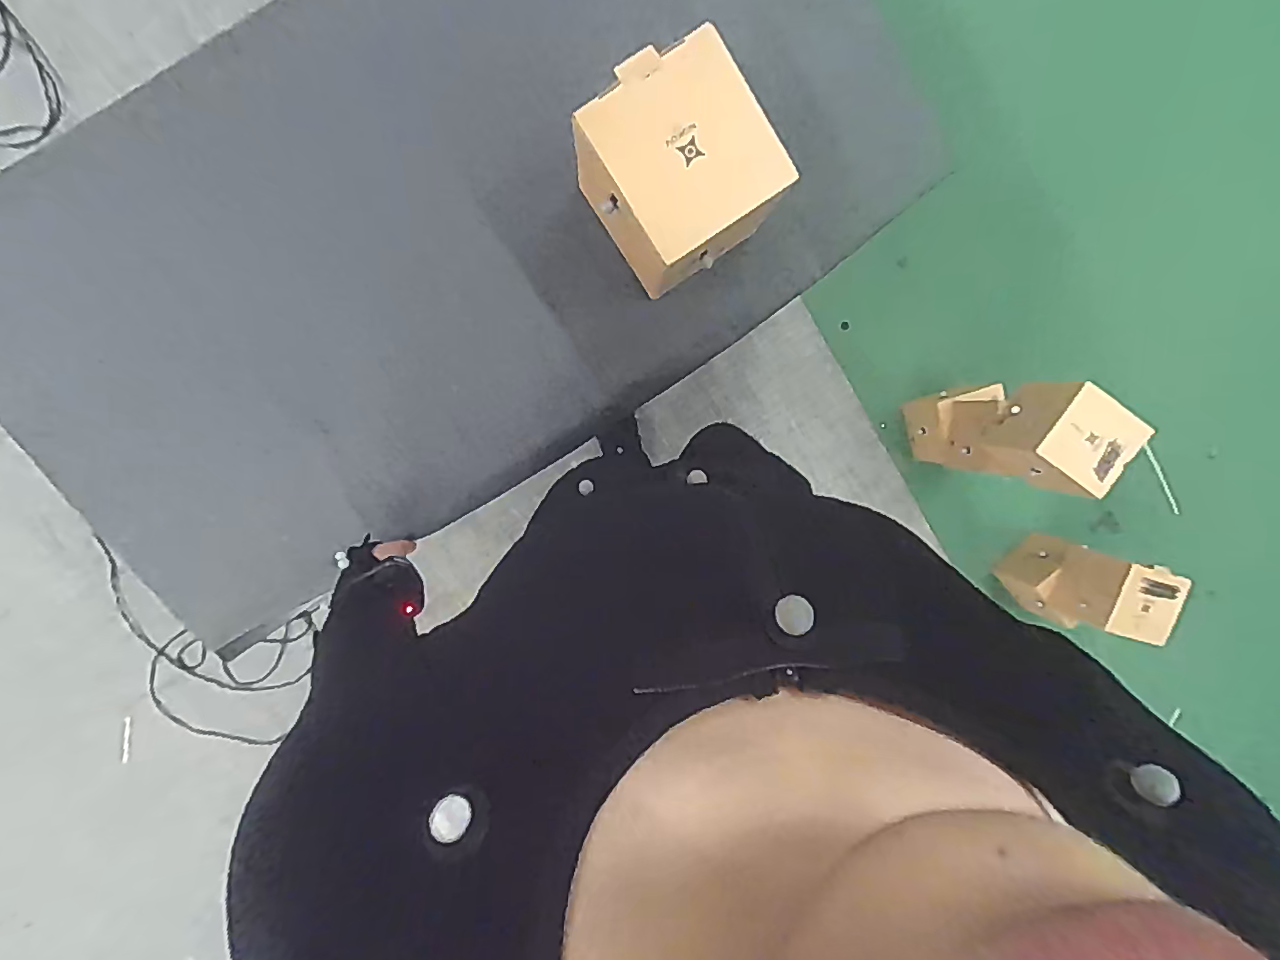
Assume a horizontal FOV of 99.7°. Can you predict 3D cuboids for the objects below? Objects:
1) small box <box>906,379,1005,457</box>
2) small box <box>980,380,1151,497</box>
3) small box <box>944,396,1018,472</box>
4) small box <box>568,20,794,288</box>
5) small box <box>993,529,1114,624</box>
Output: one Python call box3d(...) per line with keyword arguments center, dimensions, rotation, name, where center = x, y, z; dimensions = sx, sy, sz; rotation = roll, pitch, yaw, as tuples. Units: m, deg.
box3d(center=(0.831, -0.163, 1.429), dimensions=(0.179, 0.176, 0.168), rotation=(-17, 100, -1), name="small box")
box3d(center=(0.860, -0.092, 1.111), dimensions=(0.179, 0.176, 0.168), rotation=(33, 96, -7), name="small box")
box3d(center=(0.854, -0.109, 1.274), dimensions=(0.179, 0.176, 0.168), rotation=(3, 100, -5), name="small box")
box3d(center=(0.040, -0.339, 0.611), dimensions=(0.168, 0.176, 0.179), rotation=(-34, 97, 1), name="small box")
box3d(center=(1.148, 0.261, 1.514), dimensions=(0.179, 0.176, 0.168), rotation=(-43, 99, 2), name="small box")
